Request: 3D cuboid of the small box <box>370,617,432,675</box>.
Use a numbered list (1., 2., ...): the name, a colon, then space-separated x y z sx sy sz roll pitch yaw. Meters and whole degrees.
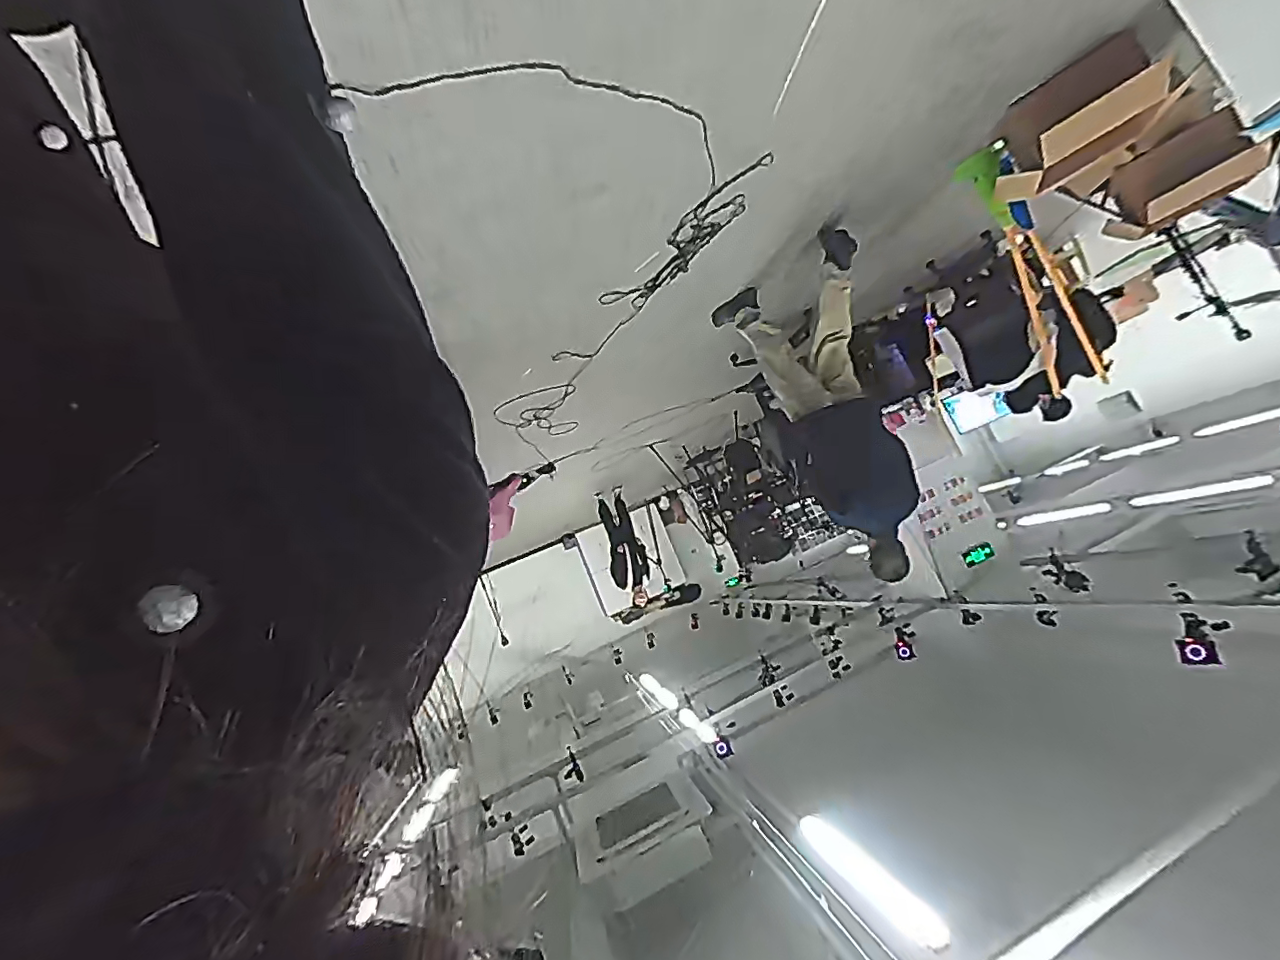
1. small box: -0.956 0.660 2.161 0.168 0.176 0.179 -22 170 -17
